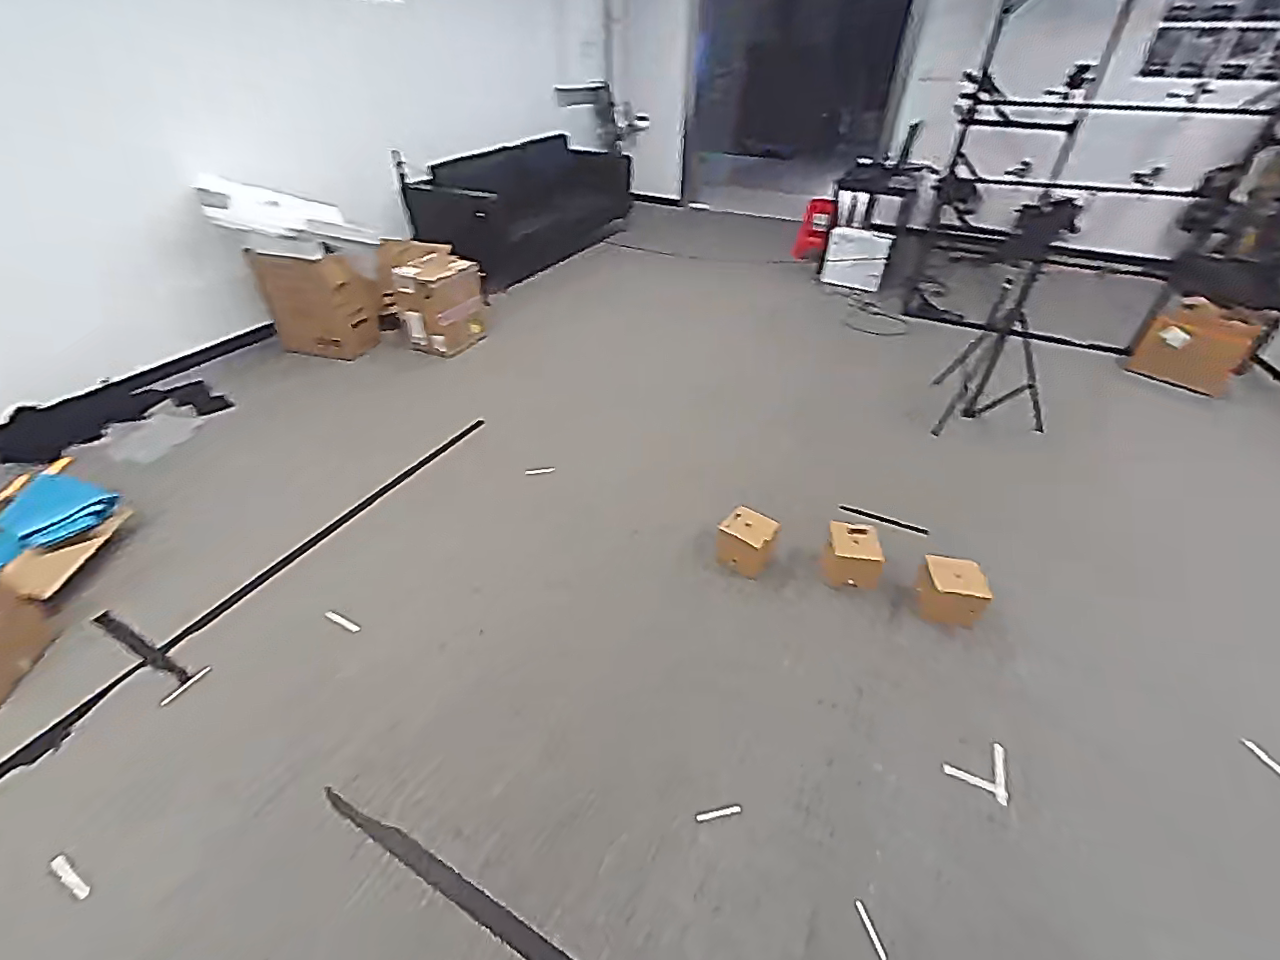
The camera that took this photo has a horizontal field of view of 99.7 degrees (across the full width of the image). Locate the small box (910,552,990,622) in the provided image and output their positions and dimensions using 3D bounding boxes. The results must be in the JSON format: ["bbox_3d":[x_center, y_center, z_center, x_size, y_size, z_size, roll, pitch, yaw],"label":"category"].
[{"bbox_3d":[1.078,0.376,1.891,0.179,0.176,0.168,5,38,7],"label":"small box"}]

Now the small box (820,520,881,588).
[{"bbox_3d":[0.777,0.274,2.014,0.168,0.176,0.179,5,39,6],"label":"small box"}]

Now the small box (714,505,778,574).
[{"bbox_3d":[0.402,0.232,2.069,0.179,0.176,0.168,27,46,30],"label":"small box"}]
